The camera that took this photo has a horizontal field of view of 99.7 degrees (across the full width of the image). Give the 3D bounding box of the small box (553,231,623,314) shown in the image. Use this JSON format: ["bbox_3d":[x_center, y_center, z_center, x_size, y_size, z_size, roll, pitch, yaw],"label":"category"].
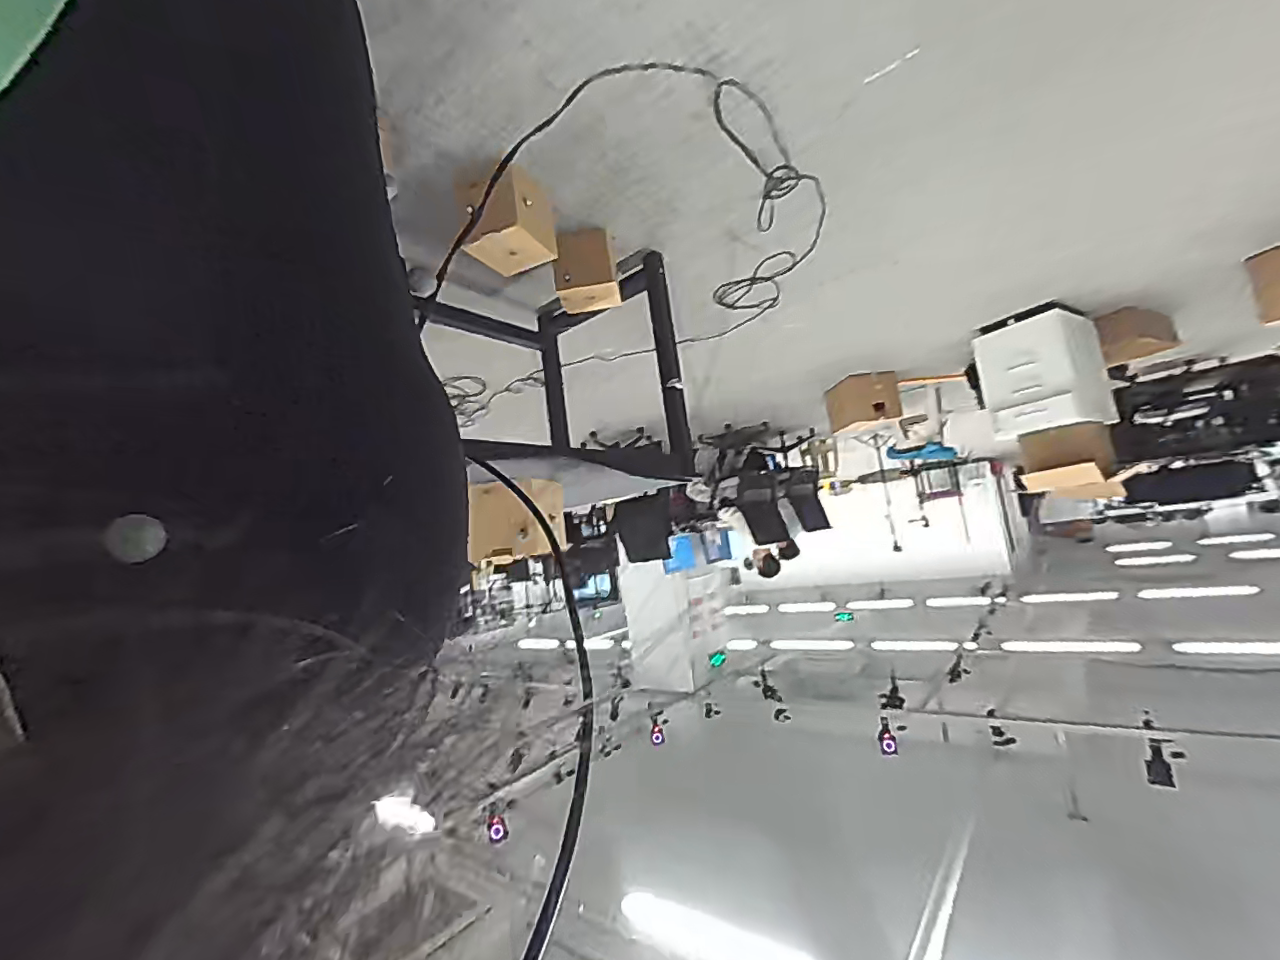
[{"bbox_3d":[-0.157,-0.623,1.622,0.179,0.176,0.168,-8,174,4],"label":"small box"}]

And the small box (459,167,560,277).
[{"bbox_3d":[-0.321,-0.632,1.324,0.168,0.176,0.179,-10,175,23],"label":"small box"}]
